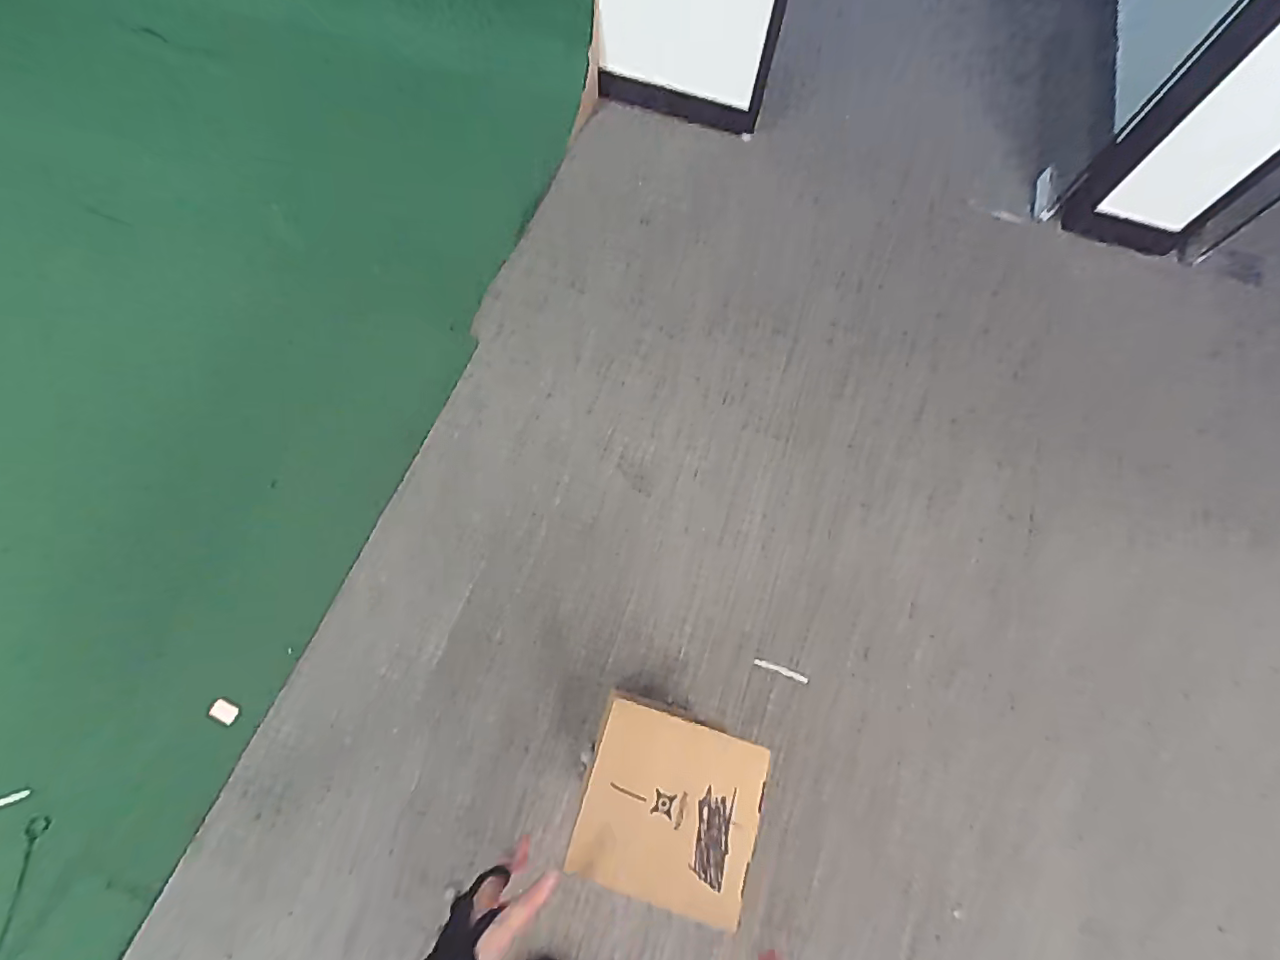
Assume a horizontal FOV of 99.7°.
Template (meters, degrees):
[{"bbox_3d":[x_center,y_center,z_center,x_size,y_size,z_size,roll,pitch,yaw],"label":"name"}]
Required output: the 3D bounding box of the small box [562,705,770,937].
[{"bbox_3d":[0.027,0.365,0.620,0.179,0.176,0.168,17,69,5],"label":"small box"}]

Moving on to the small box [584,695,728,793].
[{"bbox_3d":[0.015,0.419,0.775,0.168,0.176,0.179,15,69,4],"label":"small box"}]
